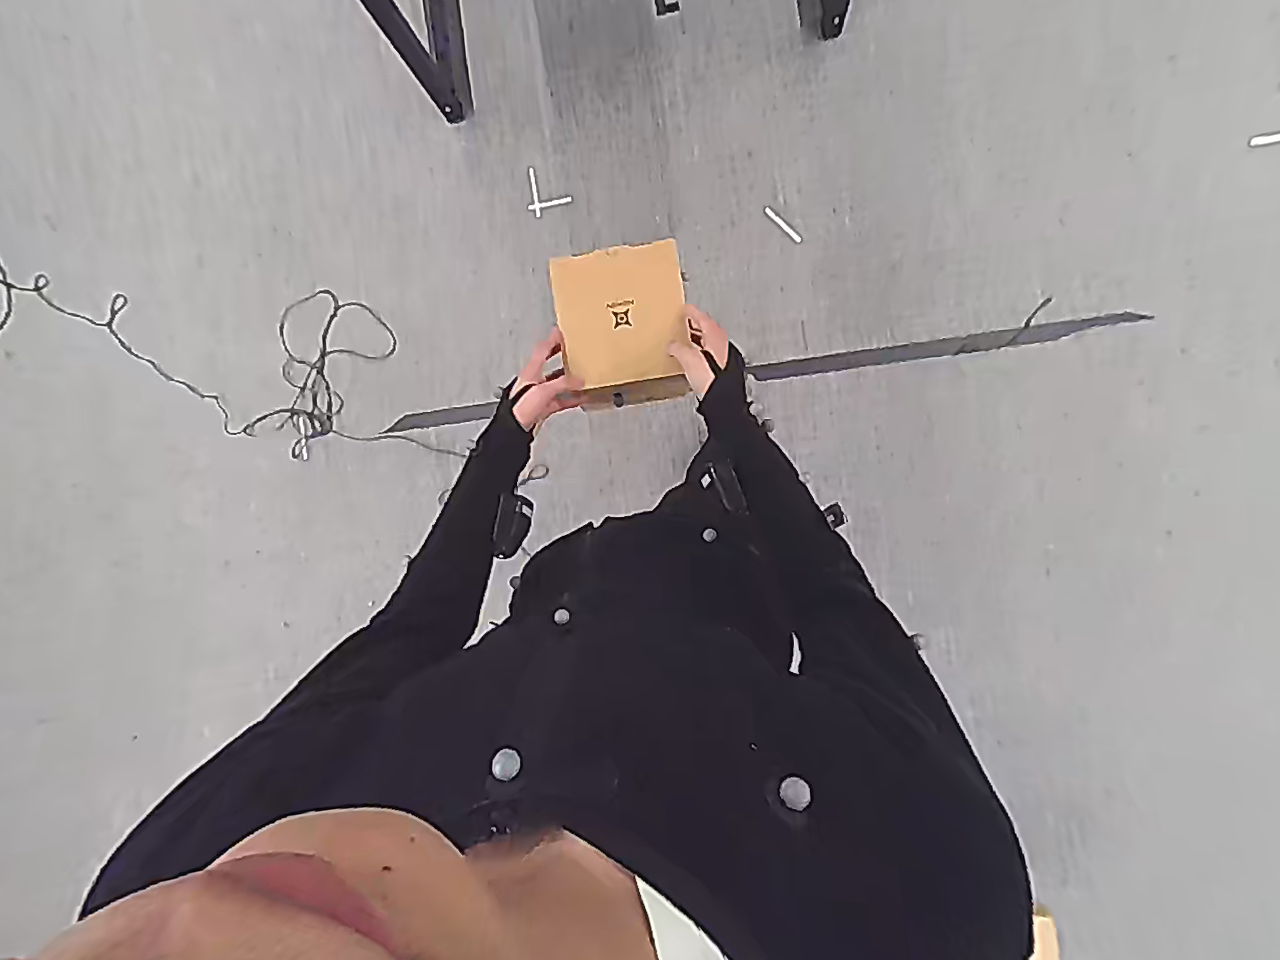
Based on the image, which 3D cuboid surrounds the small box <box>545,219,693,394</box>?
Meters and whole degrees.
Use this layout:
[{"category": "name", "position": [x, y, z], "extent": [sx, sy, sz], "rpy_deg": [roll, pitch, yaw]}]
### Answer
[{"category": "small box", "position": [-0.023, -0.222, 0.743], "extent": [0.168, 0.176, 0.179], "rpy_deg": [-9, 87, 1]}]
